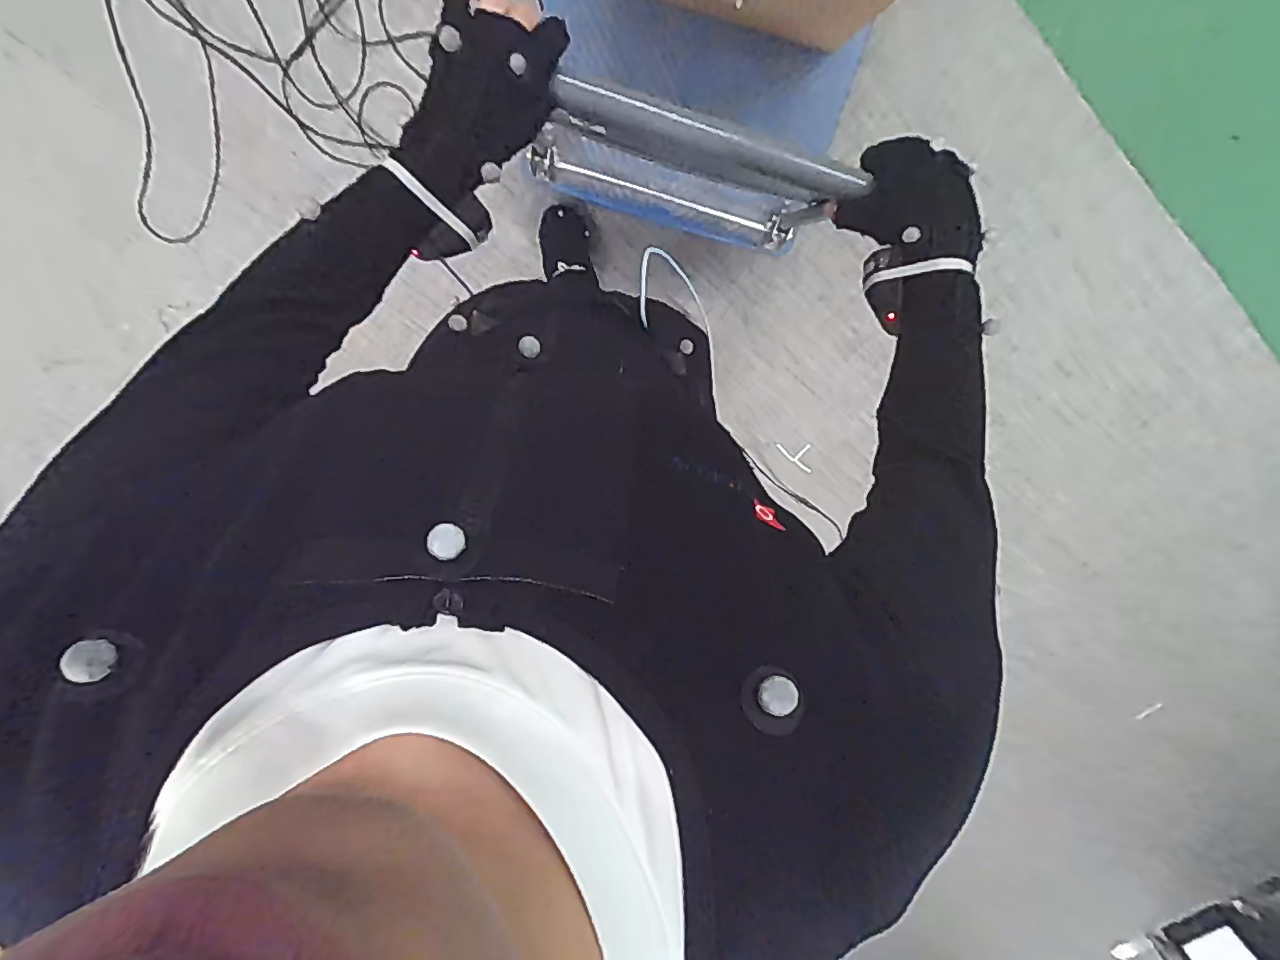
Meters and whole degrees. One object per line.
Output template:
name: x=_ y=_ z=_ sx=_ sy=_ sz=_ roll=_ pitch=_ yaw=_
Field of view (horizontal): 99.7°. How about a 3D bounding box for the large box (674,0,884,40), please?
large box: x=0.195 y=-0.902 z=0.777 sx=0.408 sy=0.320 sz=0.320 roll=11 pitch=115 yaw=-5
